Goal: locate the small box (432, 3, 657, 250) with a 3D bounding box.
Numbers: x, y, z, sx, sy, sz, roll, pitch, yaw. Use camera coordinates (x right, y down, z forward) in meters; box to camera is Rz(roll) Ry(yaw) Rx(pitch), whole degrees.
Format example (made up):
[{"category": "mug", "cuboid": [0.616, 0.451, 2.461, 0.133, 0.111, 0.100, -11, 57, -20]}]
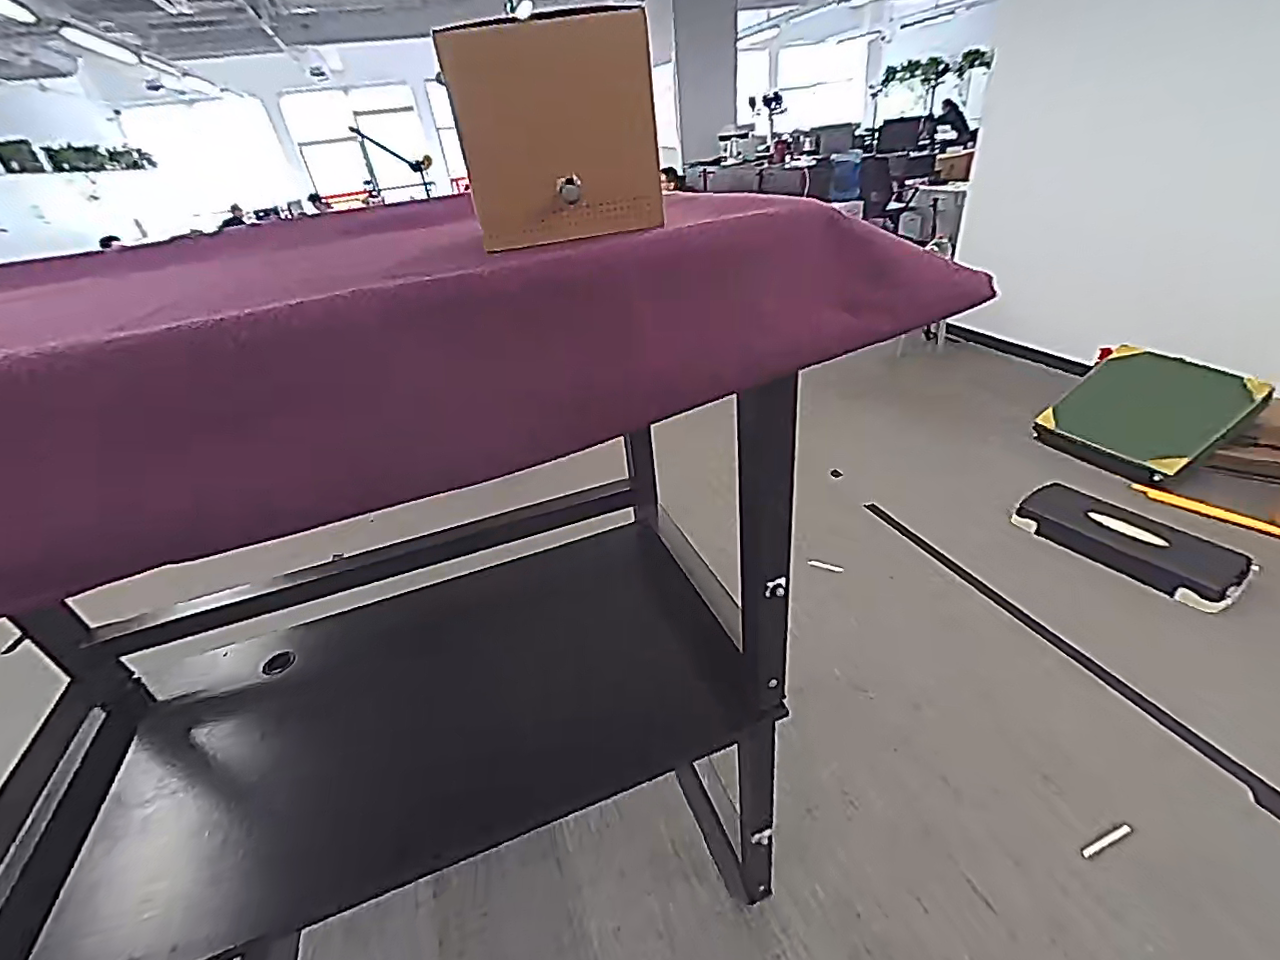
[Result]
[{"category": "small box", "cuboid": [-0.082, -0.339, 0.535, 0.179, 0.176, 0.168, -11, 32, -5]}]
